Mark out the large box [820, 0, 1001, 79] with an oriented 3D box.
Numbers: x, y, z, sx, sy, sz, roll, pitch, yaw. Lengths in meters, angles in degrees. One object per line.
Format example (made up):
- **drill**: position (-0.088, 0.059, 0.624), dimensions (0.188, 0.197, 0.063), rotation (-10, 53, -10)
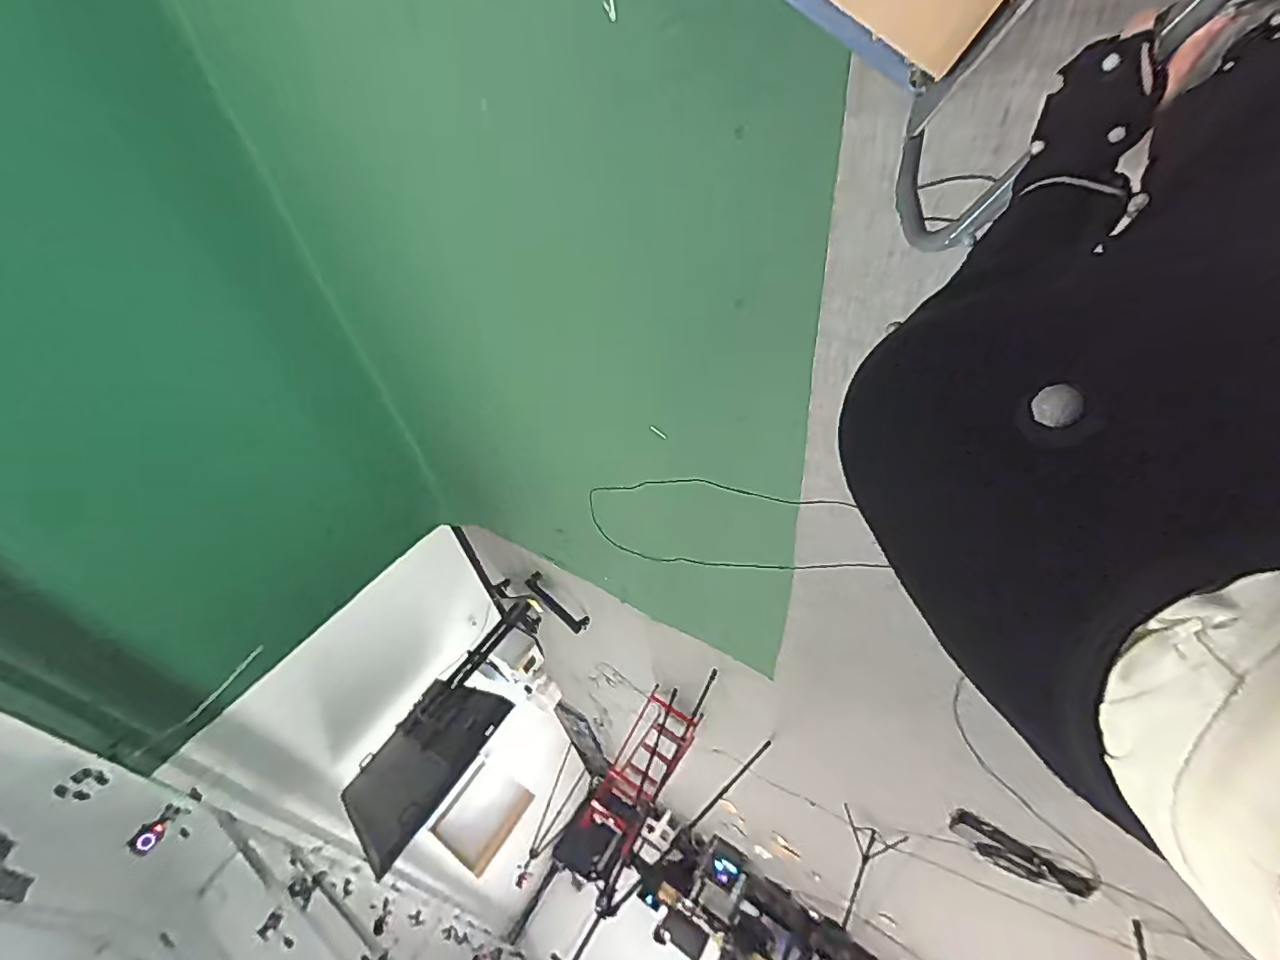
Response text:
- **large box**: position (0.415, -0.903, 0.790), dimensions (0.408, 0.320, 0.320), rotation (33, 146, -4)
